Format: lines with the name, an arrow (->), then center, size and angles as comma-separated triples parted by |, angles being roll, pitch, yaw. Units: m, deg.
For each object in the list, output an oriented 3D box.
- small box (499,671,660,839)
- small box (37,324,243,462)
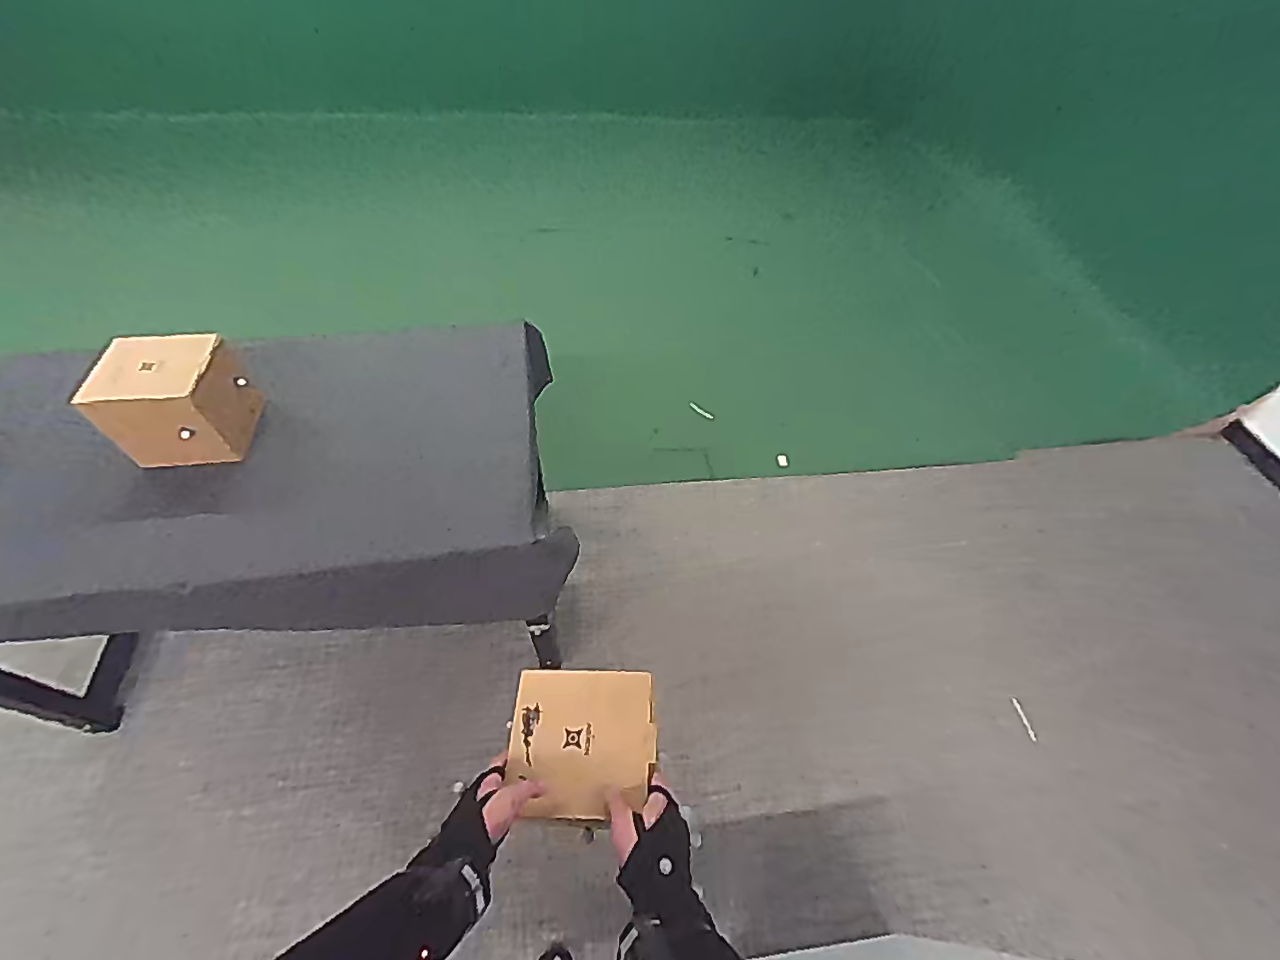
small box -> -0.066, 0.358, 0.698 | 0.179, 0.176, 0.168 | 1, 53, 1
small box -> -0.831, -0.147, 0.927 | 0.179, 0.176, 0.168 | -5, 52, -9
